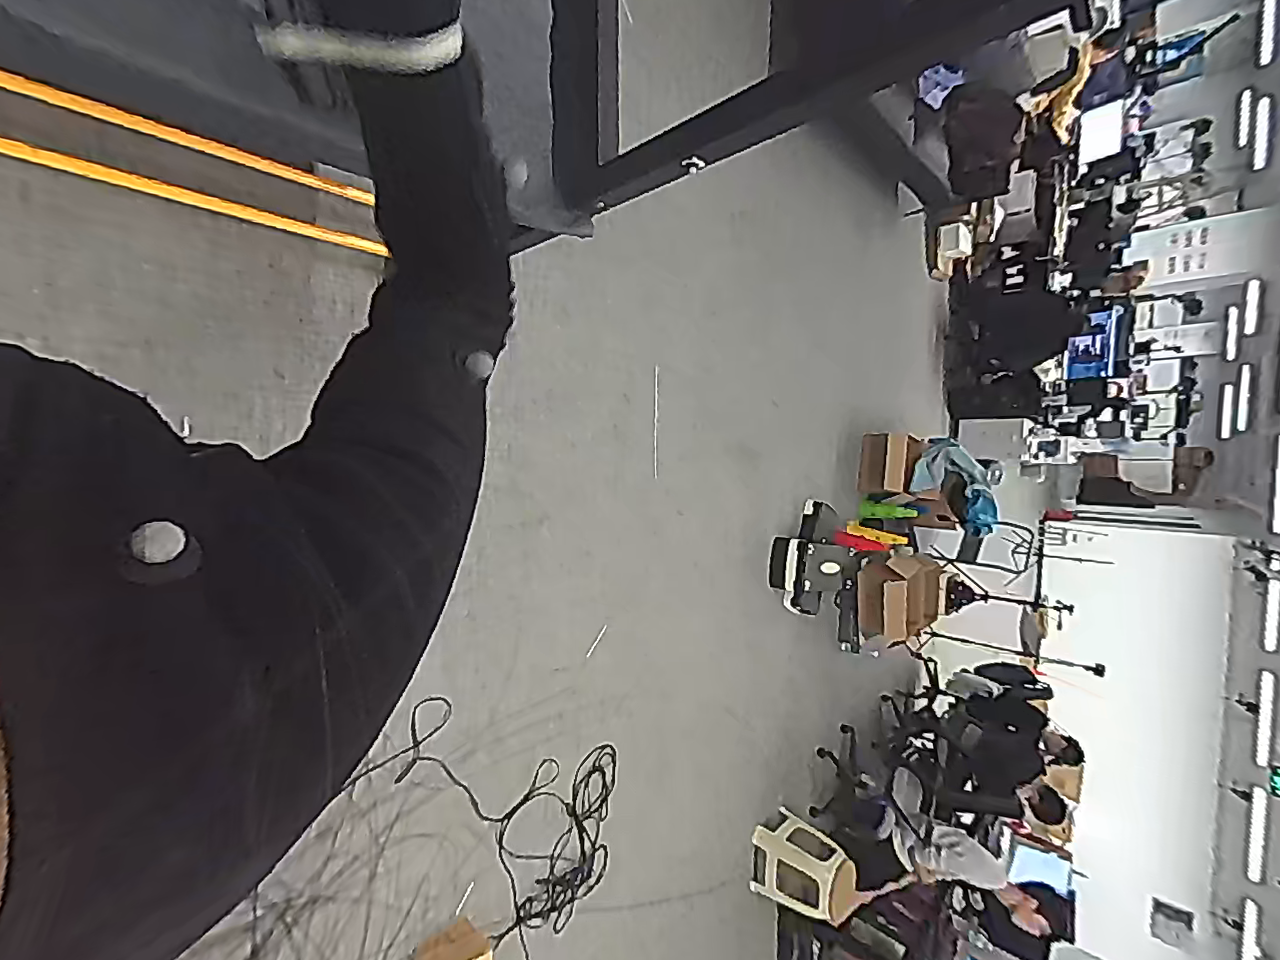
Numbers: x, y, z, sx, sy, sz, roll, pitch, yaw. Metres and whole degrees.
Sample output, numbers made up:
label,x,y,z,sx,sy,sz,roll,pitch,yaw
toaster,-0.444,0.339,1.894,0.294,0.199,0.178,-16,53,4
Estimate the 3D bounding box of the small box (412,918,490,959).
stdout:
label,x,y,z,sx,sy,sz,roll,pitch,yaw
small box,-0.560,1.466,1.598,0.168,0.176,0.179,-3,94,-47
